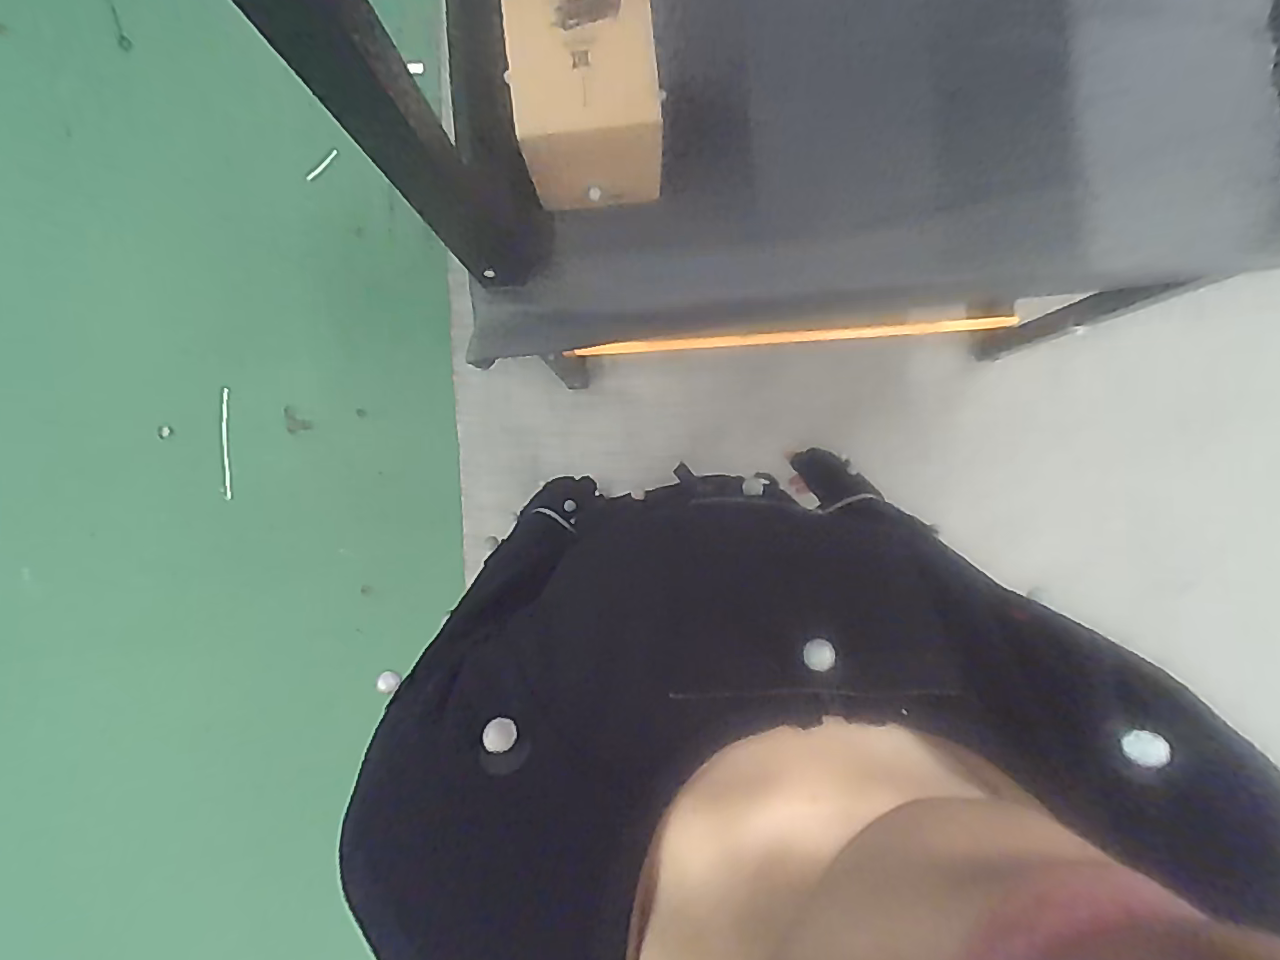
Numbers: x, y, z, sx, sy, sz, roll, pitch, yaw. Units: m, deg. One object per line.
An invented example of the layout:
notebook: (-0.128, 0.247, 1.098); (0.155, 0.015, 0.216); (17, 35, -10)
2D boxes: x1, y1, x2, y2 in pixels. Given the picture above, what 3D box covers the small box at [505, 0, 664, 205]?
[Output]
small box: (-0.062, -0.476, 0.671); (0.168, 0.176, 0.179); (-6, 90, 1)
